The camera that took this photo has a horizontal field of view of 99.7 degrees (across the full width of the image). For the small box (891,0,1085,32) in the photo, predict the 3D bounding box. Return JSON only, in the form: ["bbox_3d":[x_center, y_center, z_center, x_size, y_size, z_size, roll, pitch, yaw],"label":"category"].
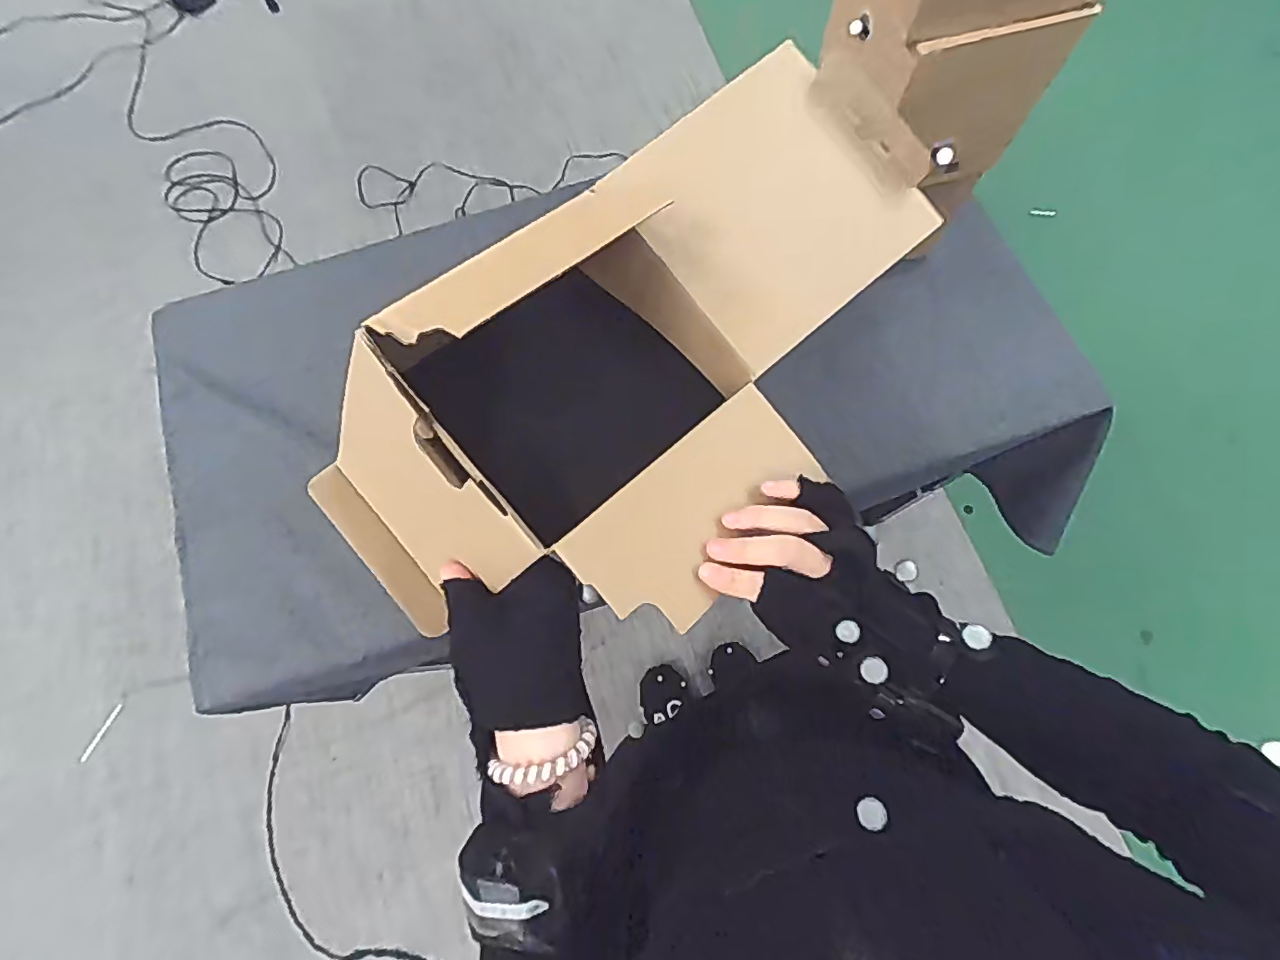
[{"bbox_3d":[0.290,-0.489,0.410,0.179,0.176,0.168,-10,74,0],"label":"small box"}]

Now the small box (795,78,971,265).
[{"bbox_3d":[0.317,-0.412,0.727,0.179,0.176,0.168,-7,73,1],"label":"small box"}]

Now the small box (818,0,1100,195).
[{"bbox_3d":[0.304,-0.441,0.565,0.168,0.176,0.179,-13,74,0],"label":"small box"}]
